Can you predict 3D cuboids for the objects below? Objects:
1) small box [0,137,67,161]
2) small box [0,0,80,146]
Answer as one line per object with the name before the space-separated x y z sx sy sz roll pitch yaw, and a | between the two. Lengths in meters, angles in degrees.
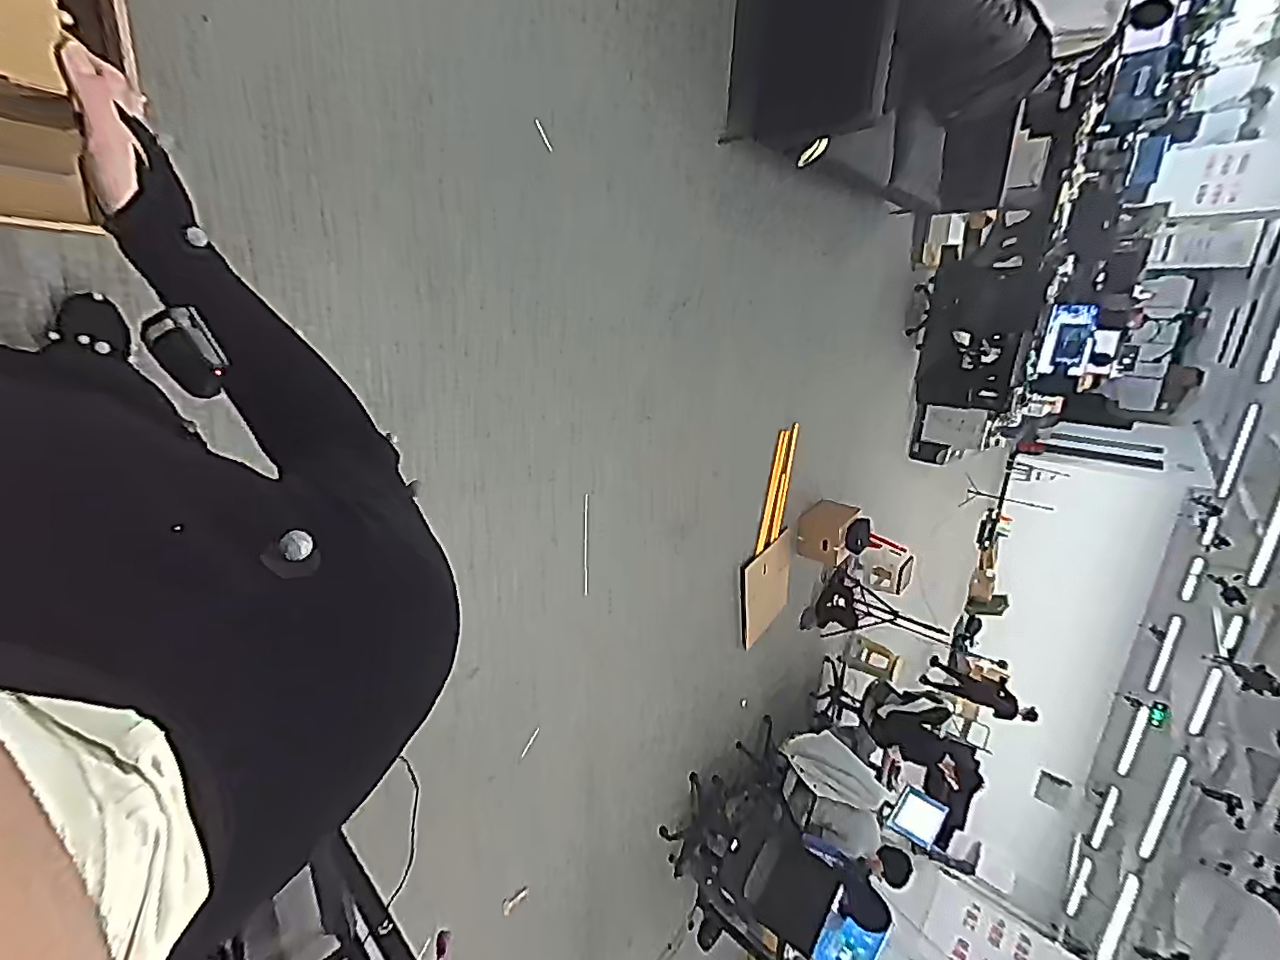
small box | -0.842 -0.515 0.665 0.168 0.176 0.179 -14 113 -46
small box | -0.723 -0.477 0.560 0.168 0.176 0.179 -15 114 -45
